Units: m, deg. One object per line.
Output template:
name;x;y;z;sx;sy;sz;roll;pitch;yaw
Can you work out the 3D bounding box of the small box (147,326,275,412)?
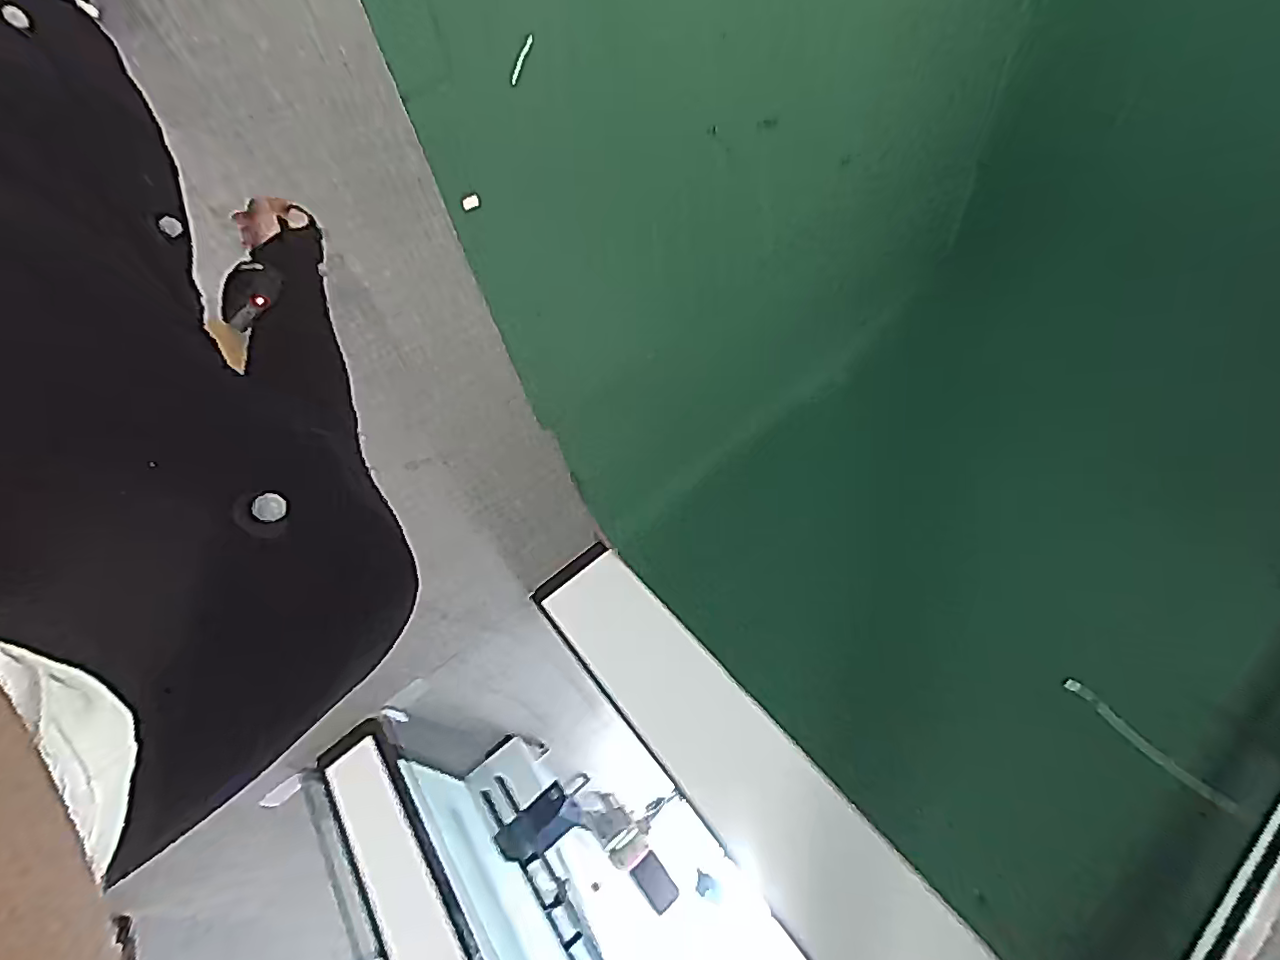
small box;-1.040;-0.244;1.310;0.179;0.176;0.168;-36;144;-17
